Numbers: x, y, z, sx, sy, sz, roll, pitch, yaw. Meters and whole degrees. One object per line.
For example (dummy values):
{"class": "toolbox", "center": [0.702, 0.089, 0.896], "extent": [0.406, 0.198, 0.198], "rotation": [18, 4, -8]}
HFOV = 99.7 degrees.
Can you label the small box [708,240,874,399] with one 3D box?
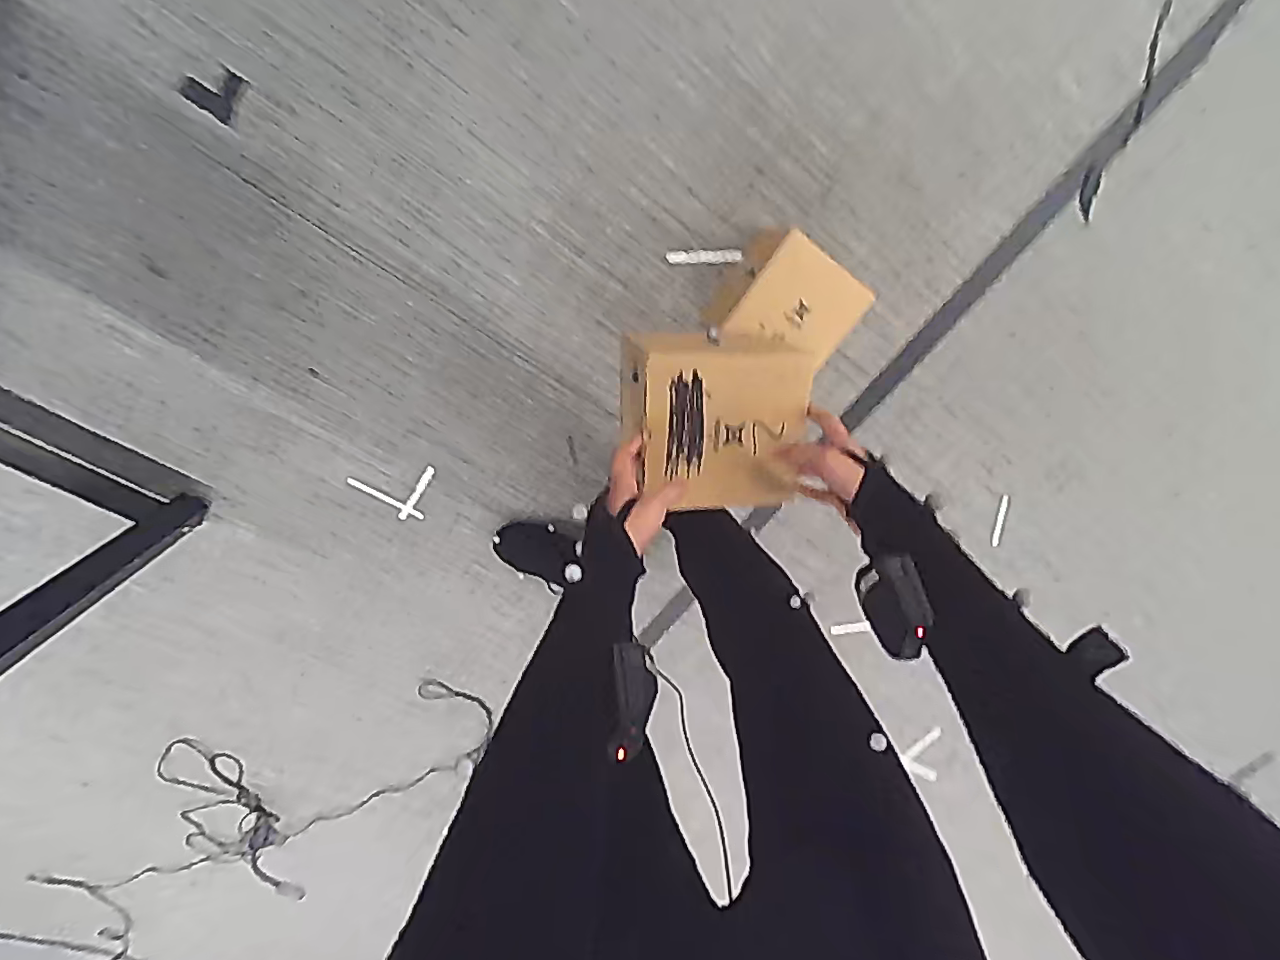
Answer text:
{"class": "small box", "center": [0.229, -0.266, 0.874], "extent": [0.168, 0.176, 0.179], "rotation": [32, 110, -17]}
